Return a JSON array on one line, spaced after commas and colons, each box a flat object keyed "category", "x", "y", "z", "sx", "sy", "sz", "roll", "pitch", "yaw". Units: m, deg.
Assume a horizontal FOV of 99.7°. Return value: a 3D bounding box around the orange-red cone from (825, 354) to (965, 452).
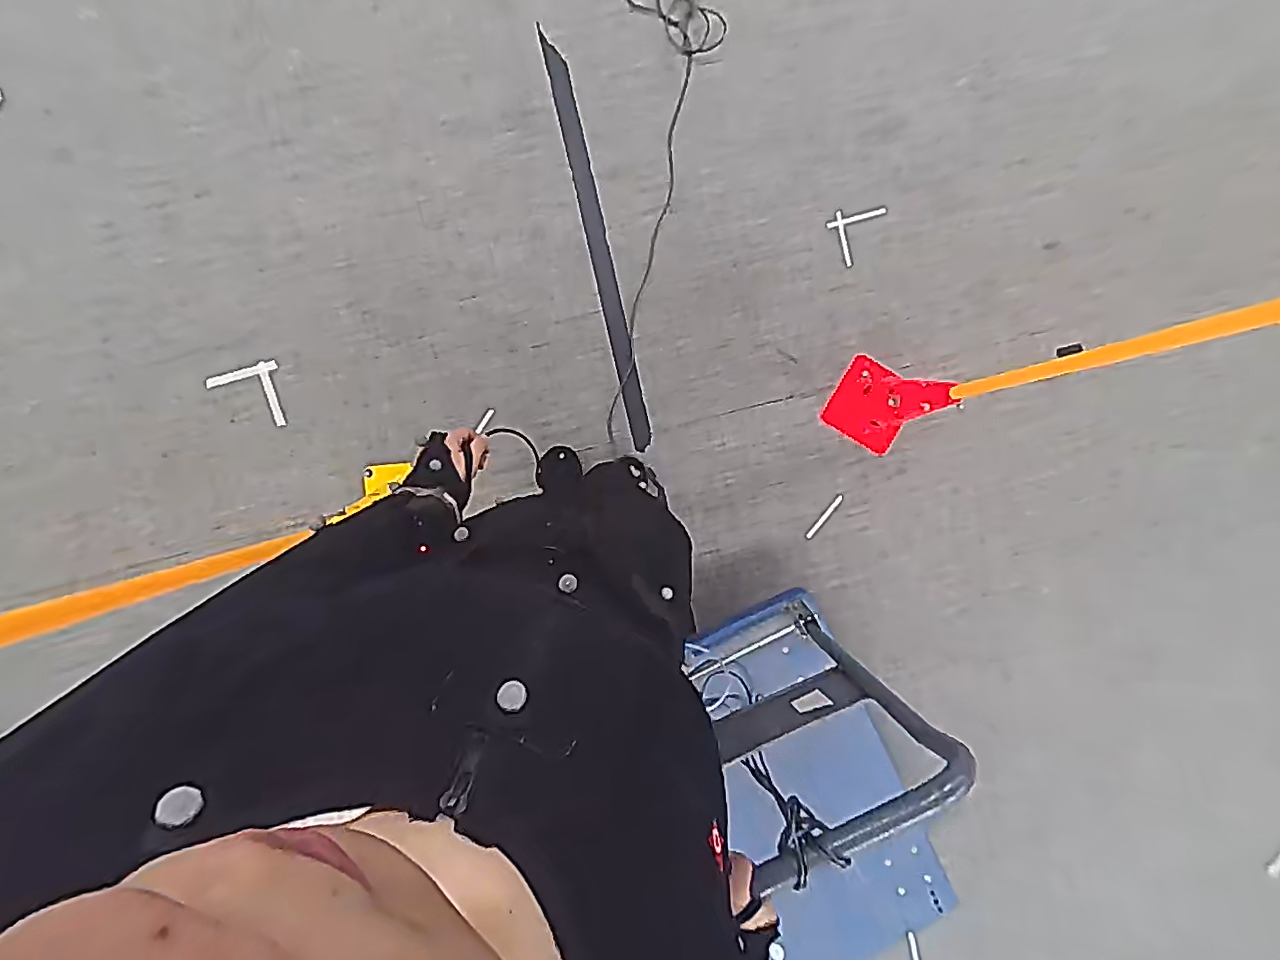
[{"category": "orange-red cone", "x": 0.595, "y": -0.180, "z": 1.197, "sx": 0.198, "sy": 0.360, "sz": 0.199, "roll": 31, "pitch": 94, "yaw": -4}]
